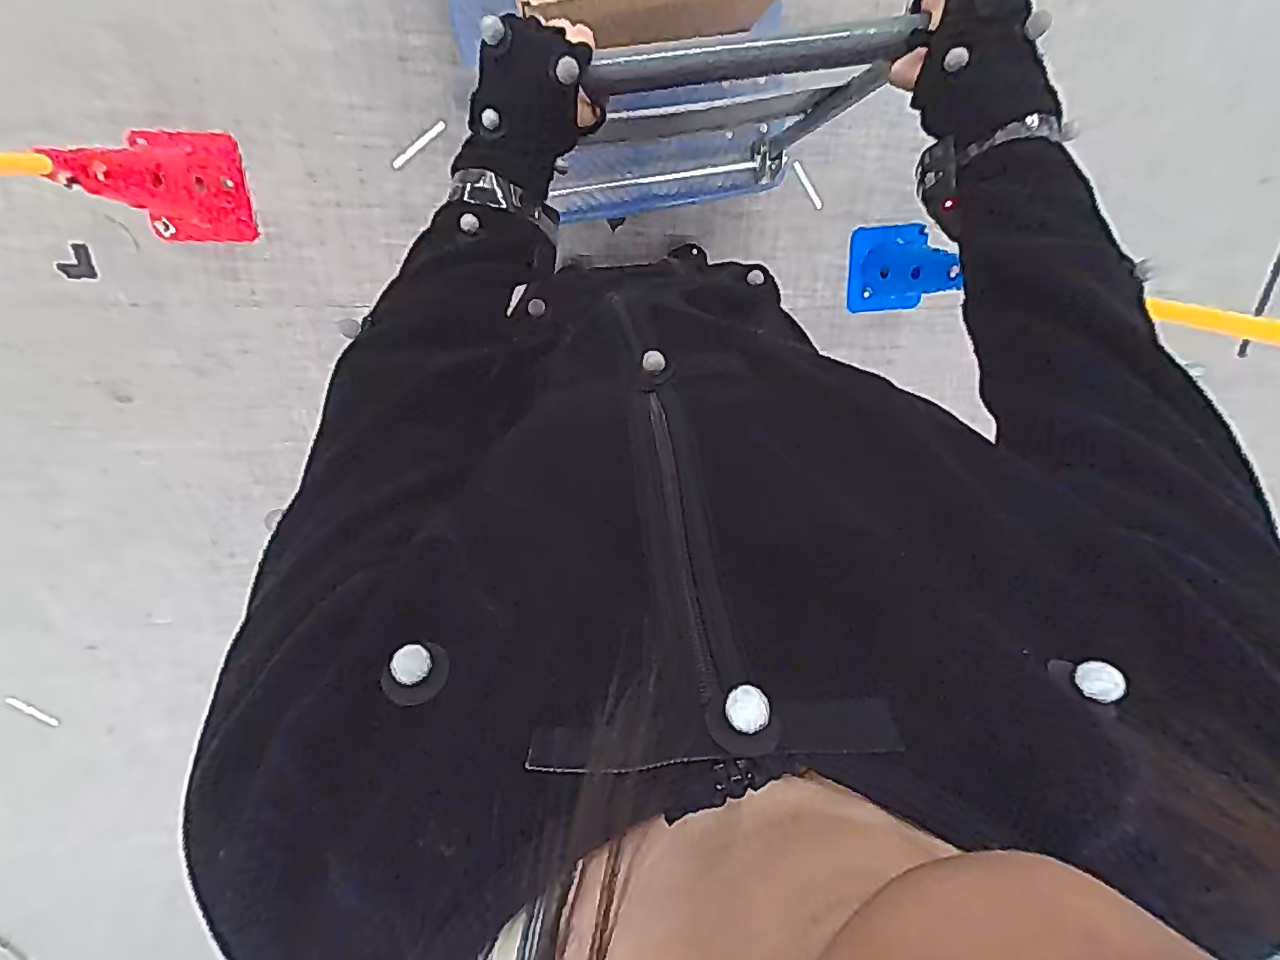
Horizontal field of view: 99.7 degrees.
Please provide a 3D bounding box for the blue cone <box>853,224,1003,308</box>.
[{"bbox_3d":[0.644,-0.470,1.193,0.193,0.380,0.192,-5,112,-7],"label":"blue cone"}]
